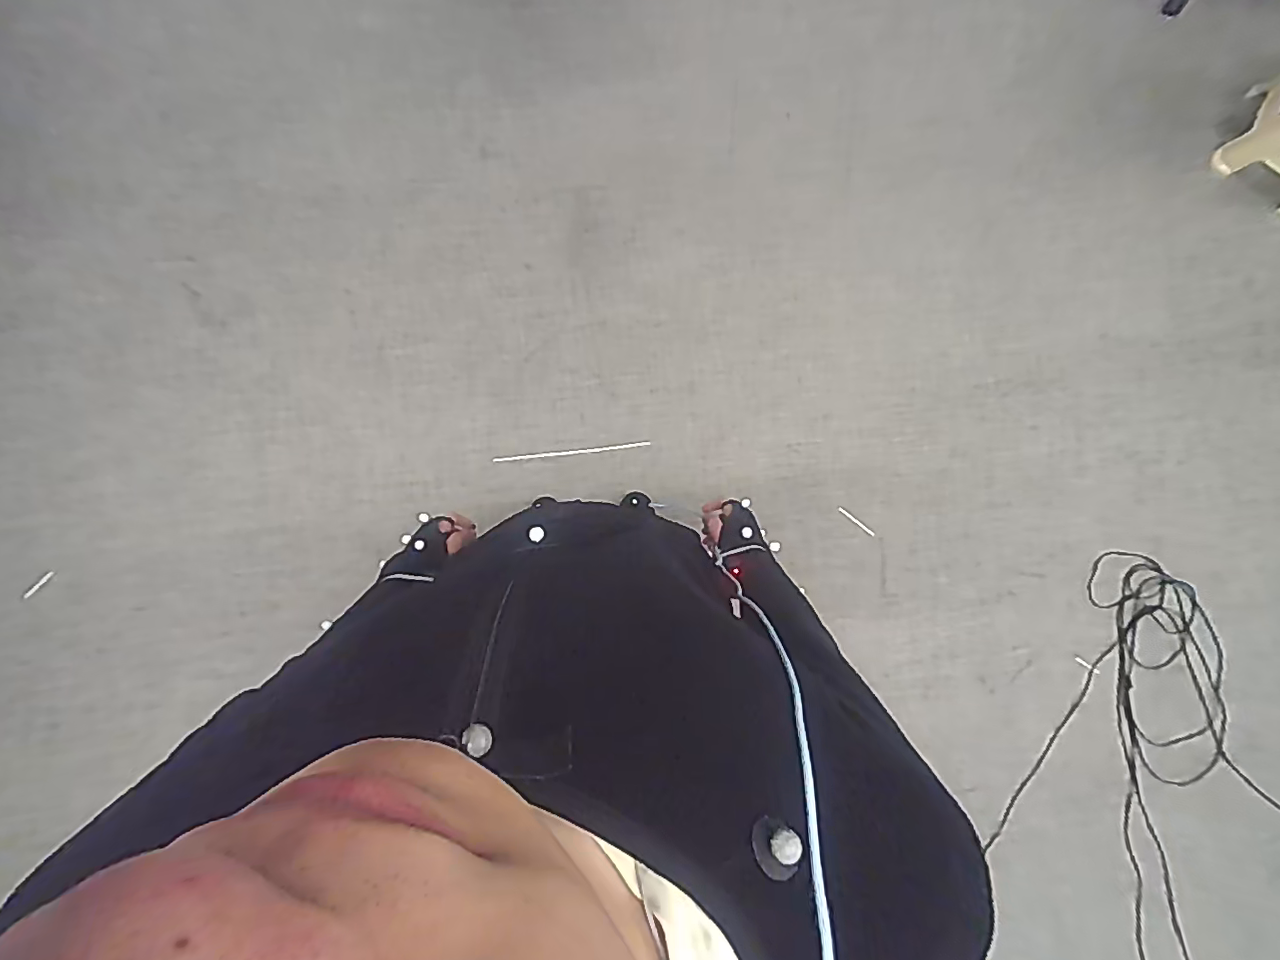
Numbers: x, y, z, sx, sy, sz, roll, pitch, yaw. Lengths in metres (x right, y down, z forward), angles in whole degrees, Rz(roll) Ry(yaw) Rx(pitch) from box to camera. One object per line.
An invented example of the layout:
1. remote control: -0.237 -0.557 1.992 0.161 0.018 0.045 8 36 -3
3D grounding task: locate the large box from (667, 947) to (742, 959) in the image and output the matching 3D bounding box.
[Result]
1. large box: 0.132 1.581 1.475 0.408 0.320 0.320 -8 88 -2
